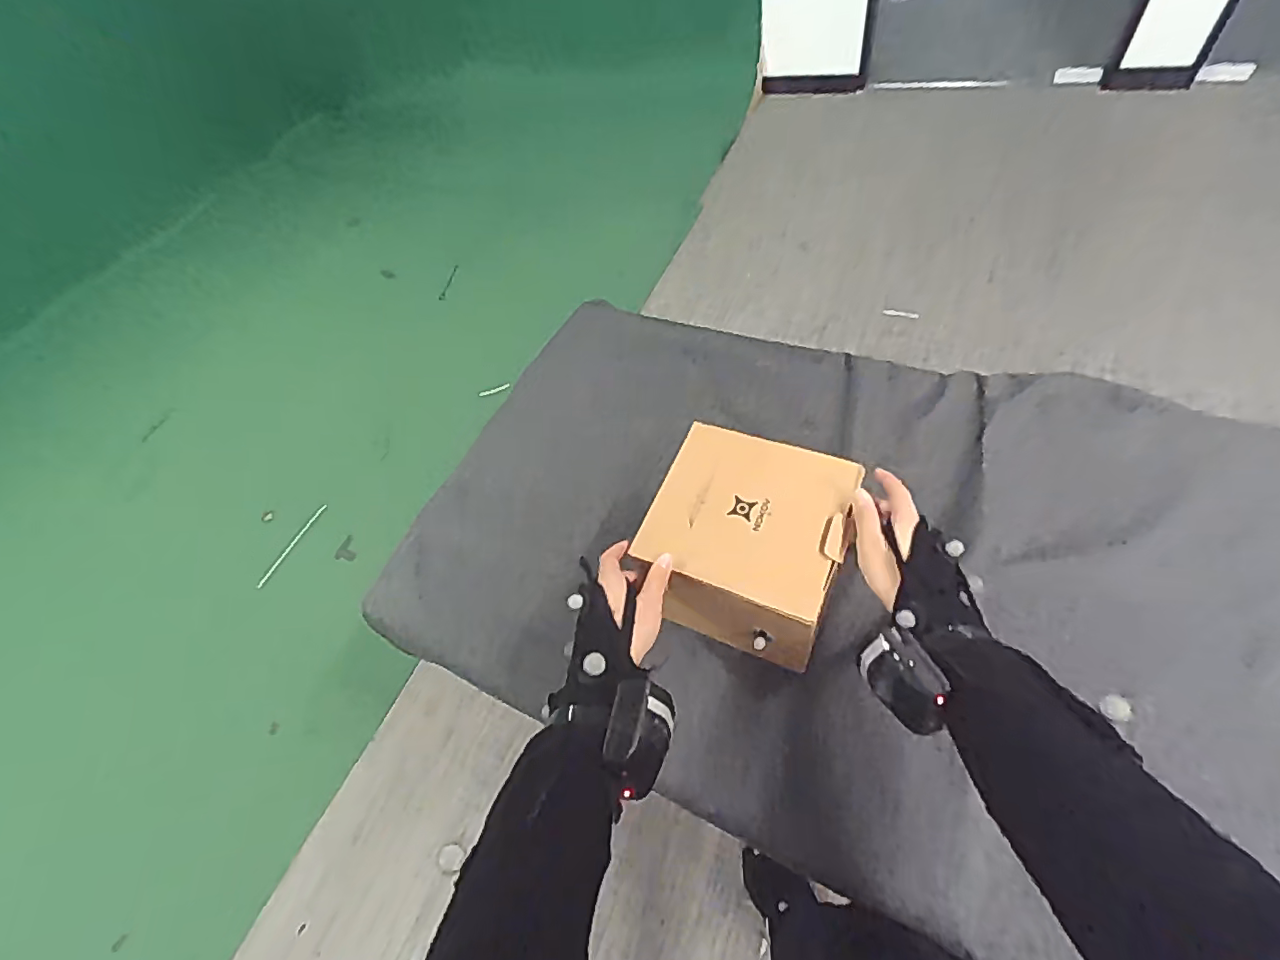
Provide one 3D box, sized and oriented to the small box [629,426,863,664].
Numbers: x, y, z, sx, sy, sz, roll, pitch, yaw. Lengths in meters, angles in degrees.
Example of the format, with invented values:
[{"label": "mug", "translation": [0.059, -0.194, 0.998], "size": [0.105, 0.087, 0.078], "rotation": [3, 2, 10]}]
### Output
[{"label": "small box", "translation": [0.114, 0.073, 0.567], "size": [0.179, 0.176, 0.168], "rotation": [16, 60, 23]}]
